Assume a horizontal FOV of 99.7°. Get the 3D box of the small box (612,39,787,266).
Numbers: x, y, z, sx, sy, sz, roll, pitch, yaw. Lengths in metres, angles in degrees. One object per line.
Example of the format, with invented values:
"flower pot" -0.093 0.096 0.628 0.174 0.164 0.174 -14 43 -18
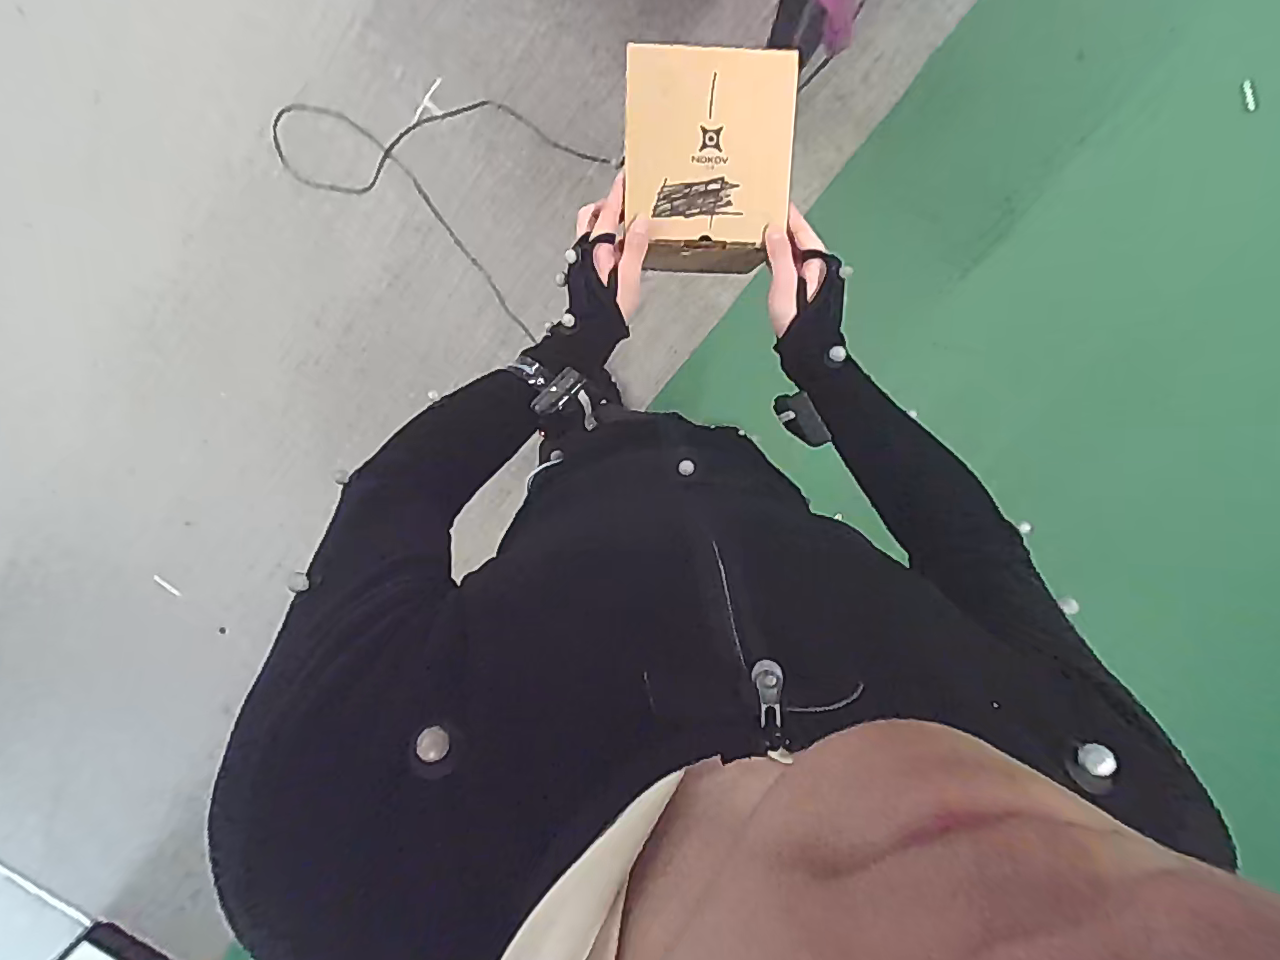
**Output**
"small box" 0.054 -0.342 0.601 0.168 0.176 0.179 0 101 -2
